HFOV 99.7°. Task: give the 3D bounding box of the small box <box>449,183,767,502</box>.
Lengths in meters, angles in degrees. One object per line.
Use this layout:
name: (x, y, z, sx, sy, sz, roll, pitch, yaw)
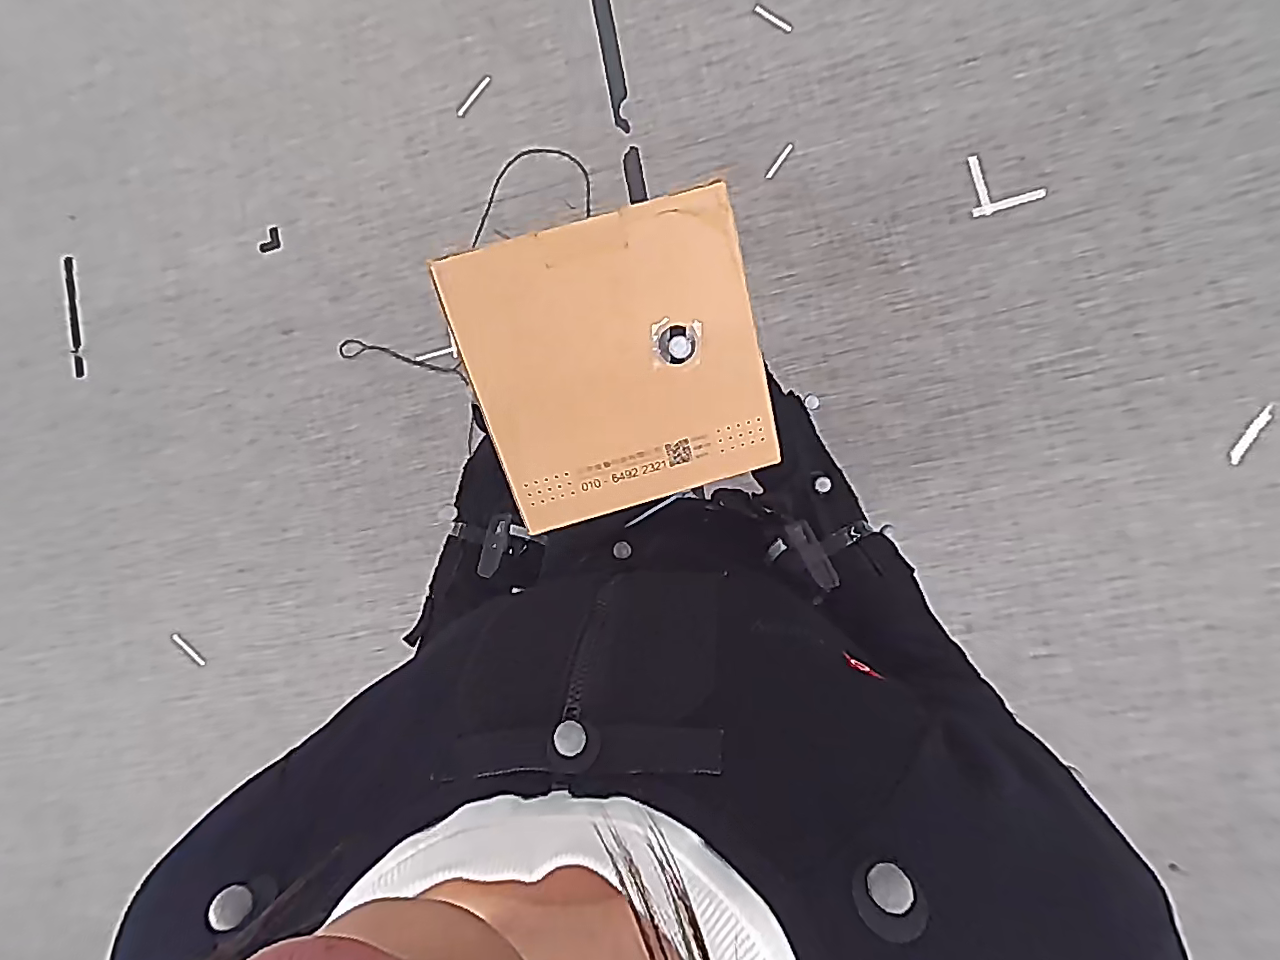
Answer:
small box: (-0.016, -0.096, 0.408, 0.168, 0.179, 0.176, -16, 110, 0)
